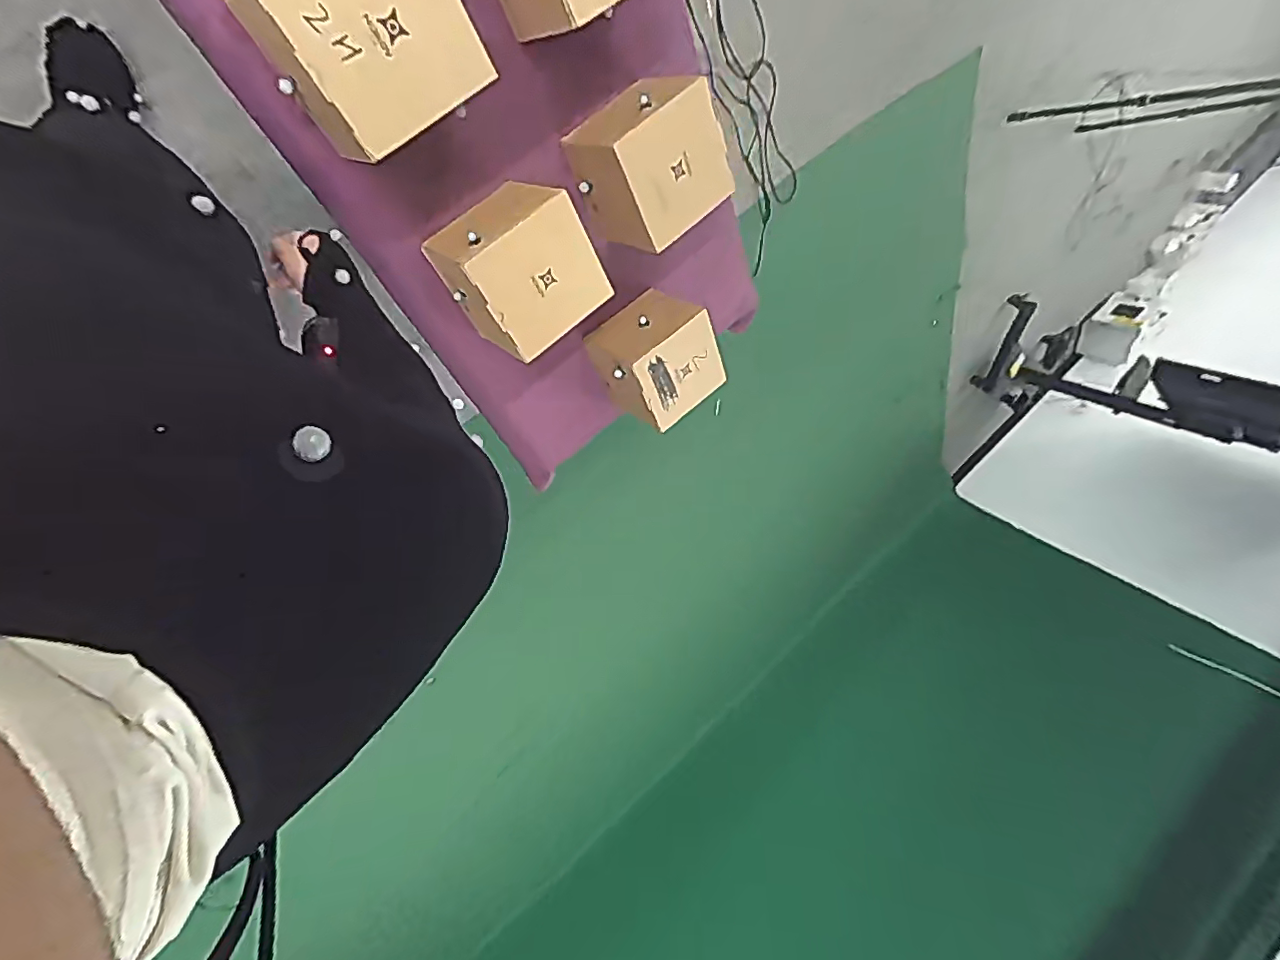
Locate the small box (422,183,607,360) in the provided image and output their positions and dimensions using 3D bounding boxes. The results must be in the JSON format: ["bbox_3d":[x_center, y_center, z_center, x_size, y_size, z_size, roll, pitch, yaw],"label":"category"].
[{"bbox_3d":[-0.187,-0.315,0.803,0.179,0.176,0.168,-42,137,-11],"label":"small box"}]

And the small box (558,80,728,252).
[{"bbox_3d":[0.004,-0.492,0.846,0.179,0.176,0.168,-41,136,-9],"label":"small box"}]

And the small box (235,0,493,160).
[{"bbox_3d":[-0.301,-0.482,0.588,0.179,0.176,0.168,-42,136,-10],"label":"small box"}]

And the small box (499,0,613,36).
[{"bbox_3d":[-0.092,-0.667,0.642,0.179,0.176,0.168,-42,137,-11],"label":"small box"}]
